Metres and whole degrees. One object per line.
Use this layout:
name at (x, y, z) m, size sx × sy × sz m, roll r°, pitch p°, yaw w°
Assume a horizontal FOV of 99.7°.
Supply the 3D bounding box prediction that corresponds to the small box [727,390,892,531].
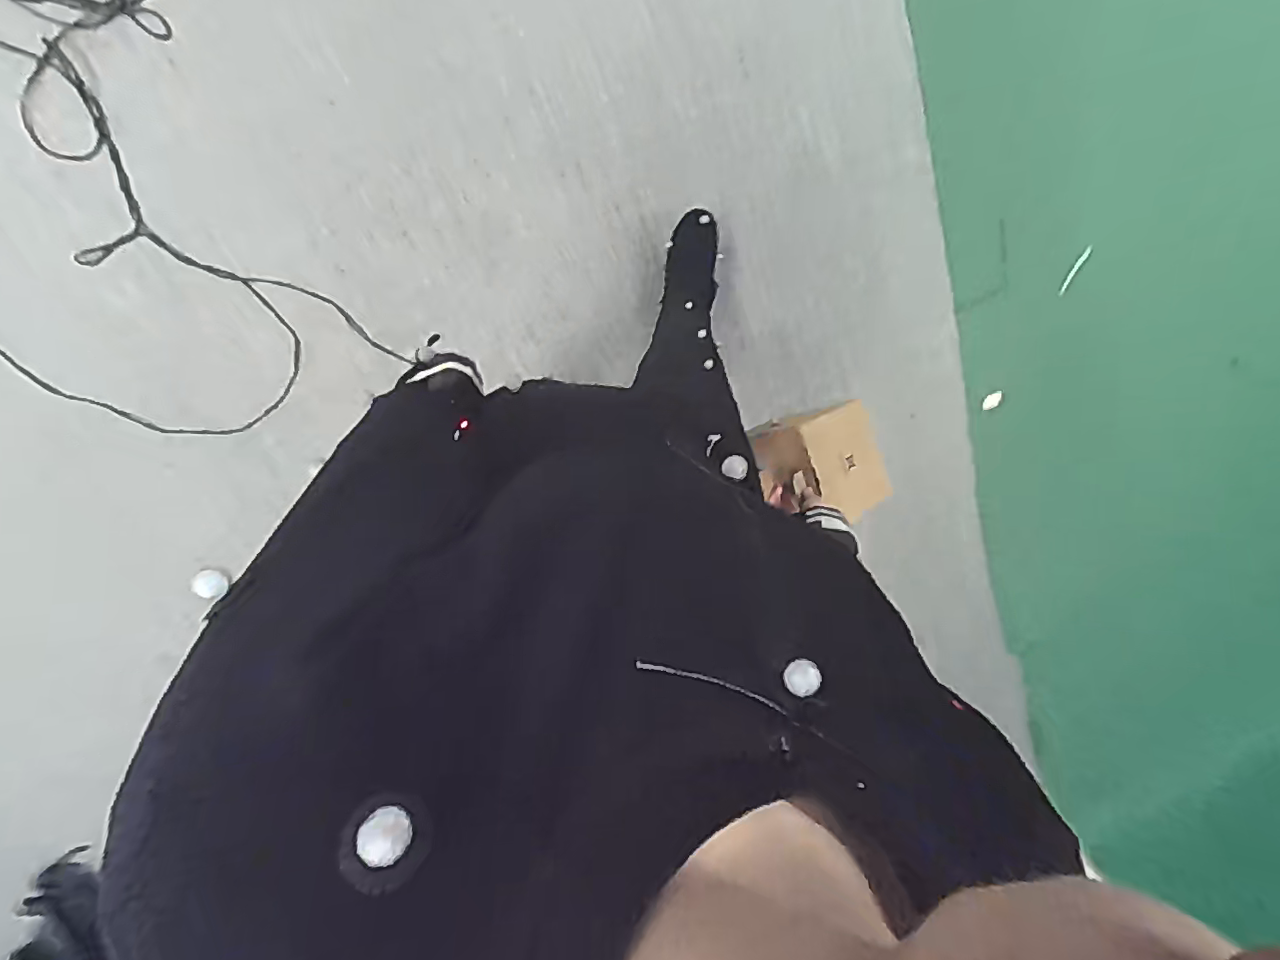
small box at (0.259, -0.025, 0.855) m, size 0.179 × 0.176 × 0.168 m, roll -26°, pitch 99°, yaw -36°
